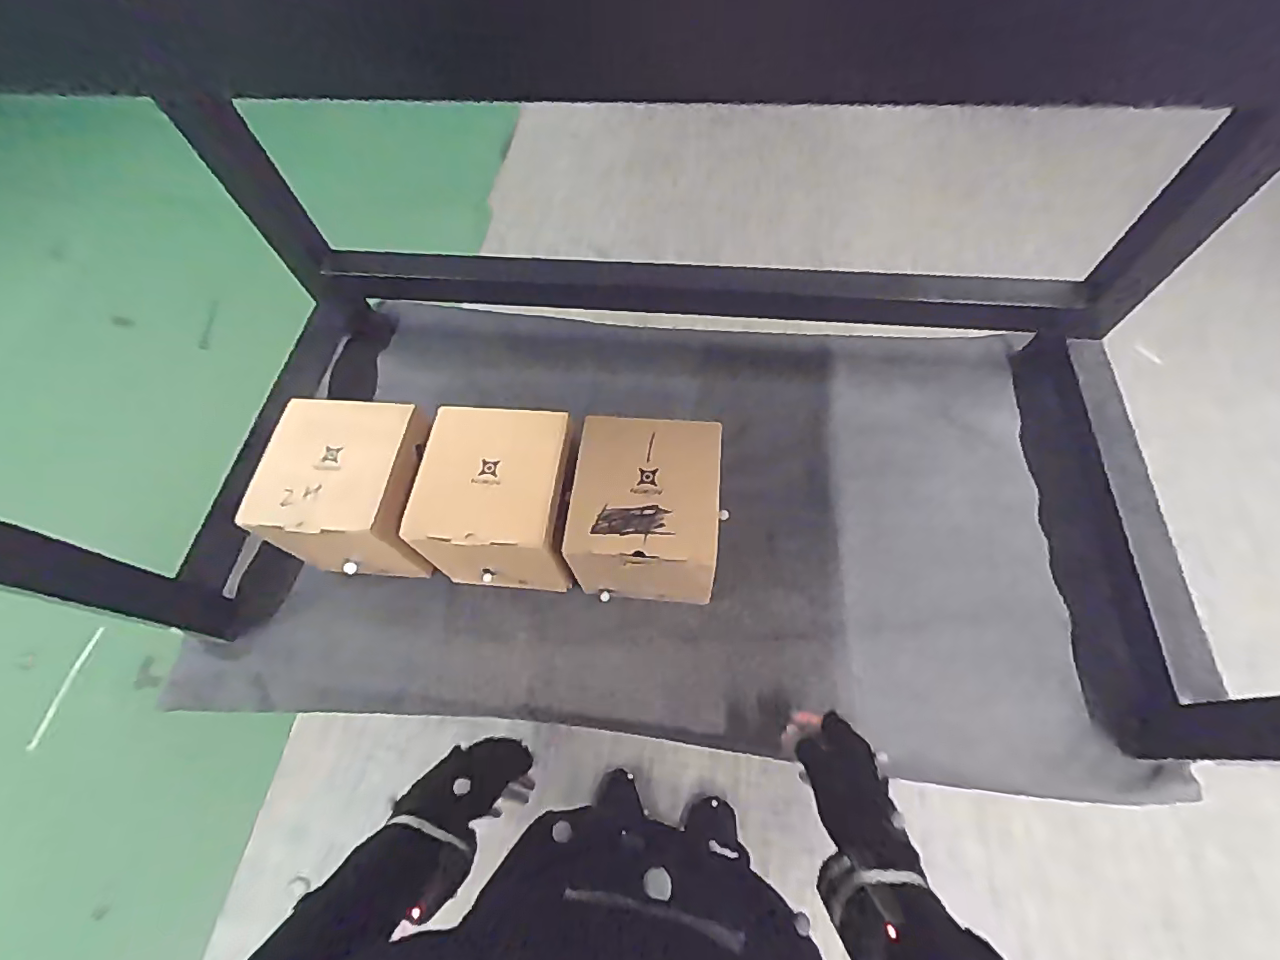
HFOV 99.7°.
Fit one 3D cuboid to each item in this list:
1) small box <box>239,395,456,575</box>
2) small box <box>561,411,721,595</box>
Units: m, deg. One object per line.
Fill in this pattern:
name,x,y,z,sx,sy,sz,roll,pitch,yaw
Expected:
small box,-0.361,0.011,0.711,0.168,0.176,0.179,3,63,6
small box,0.011,0.035,0.672,0.168,0.176,0.179,3,63,6
